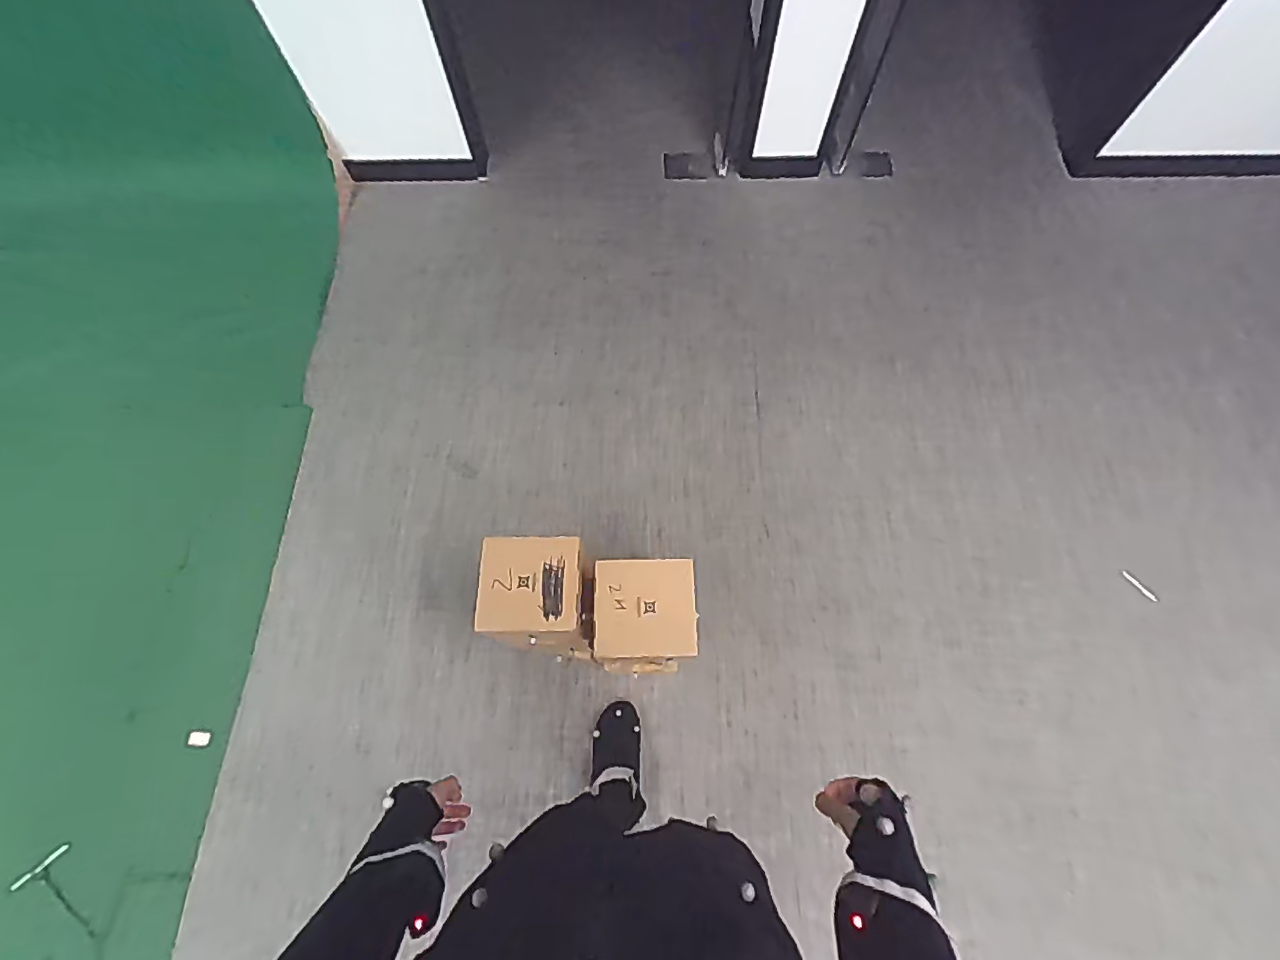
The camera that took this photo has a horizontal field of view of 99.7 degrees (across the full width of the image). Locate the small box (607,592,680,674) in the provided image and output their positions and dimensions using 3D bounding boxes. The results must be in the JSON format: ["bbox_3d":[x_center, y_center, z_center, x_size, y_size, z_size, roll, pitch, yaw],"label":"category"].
[{"bbox_3d":[0.008,0.371,1.299,0.168,0.176,0.179,0,70,1],"label":"small box"}]
